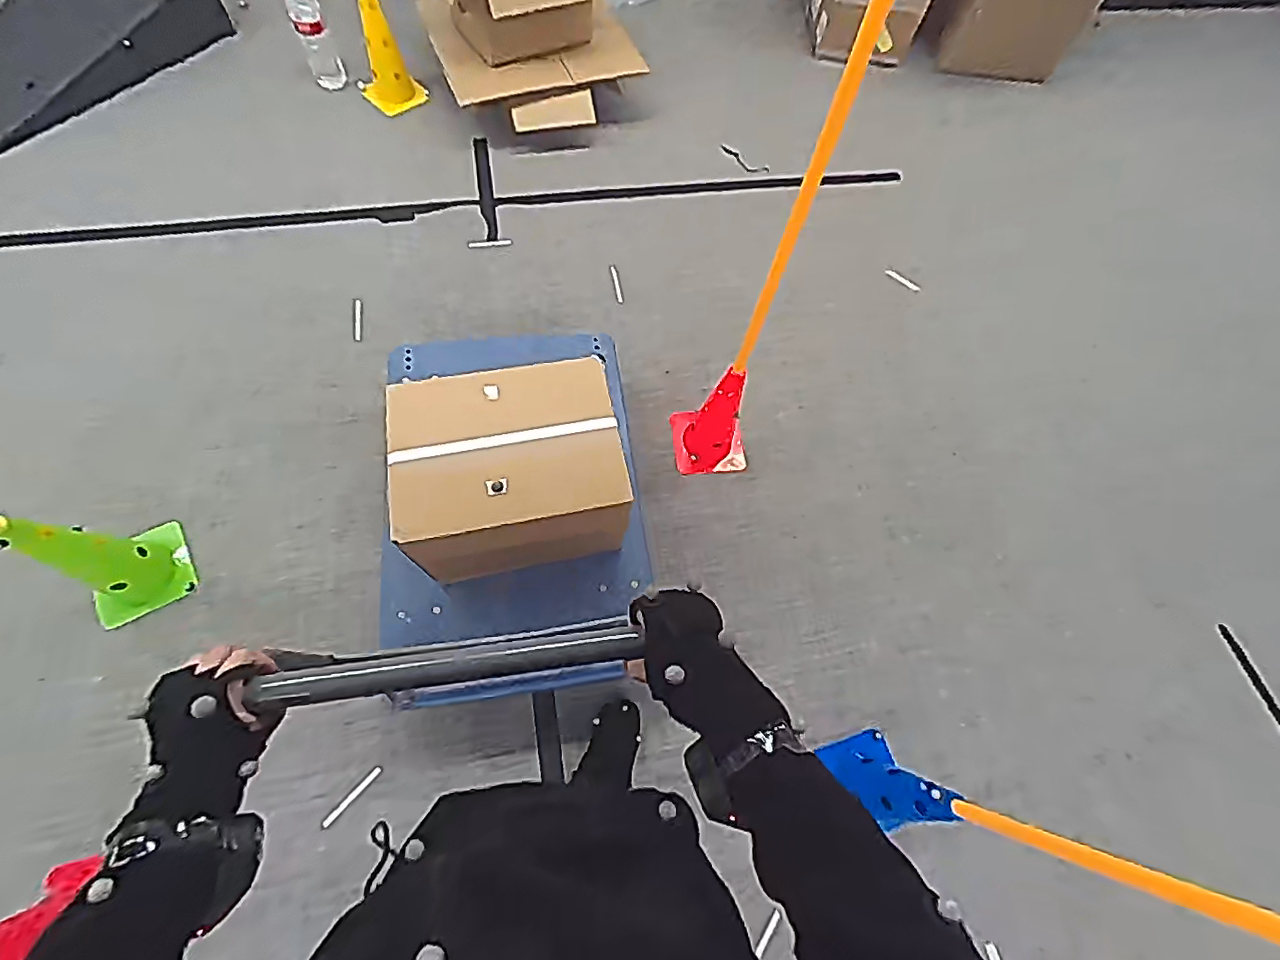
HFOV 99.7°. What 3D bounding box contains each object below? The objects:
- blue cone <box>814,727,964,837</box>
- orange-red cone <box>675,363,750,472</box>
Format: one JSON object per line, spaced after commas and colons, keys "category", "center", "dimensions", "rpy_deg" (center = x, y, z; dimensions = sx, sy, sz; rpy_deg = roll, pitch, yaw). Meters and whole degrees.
{"category": "blue cone", "center": [0.523, 0.618, 1.083], "dimensions": [0.193, 0.380, 0.192], "rpy_deg": [-12, 67, -11]}
{"category": "orange-red cone", "center": [0.219, -0.183, 1.393], "dimensions": [0.199, 0.360, 0.198], "rpy_deg": [-2, 67, -8]}
